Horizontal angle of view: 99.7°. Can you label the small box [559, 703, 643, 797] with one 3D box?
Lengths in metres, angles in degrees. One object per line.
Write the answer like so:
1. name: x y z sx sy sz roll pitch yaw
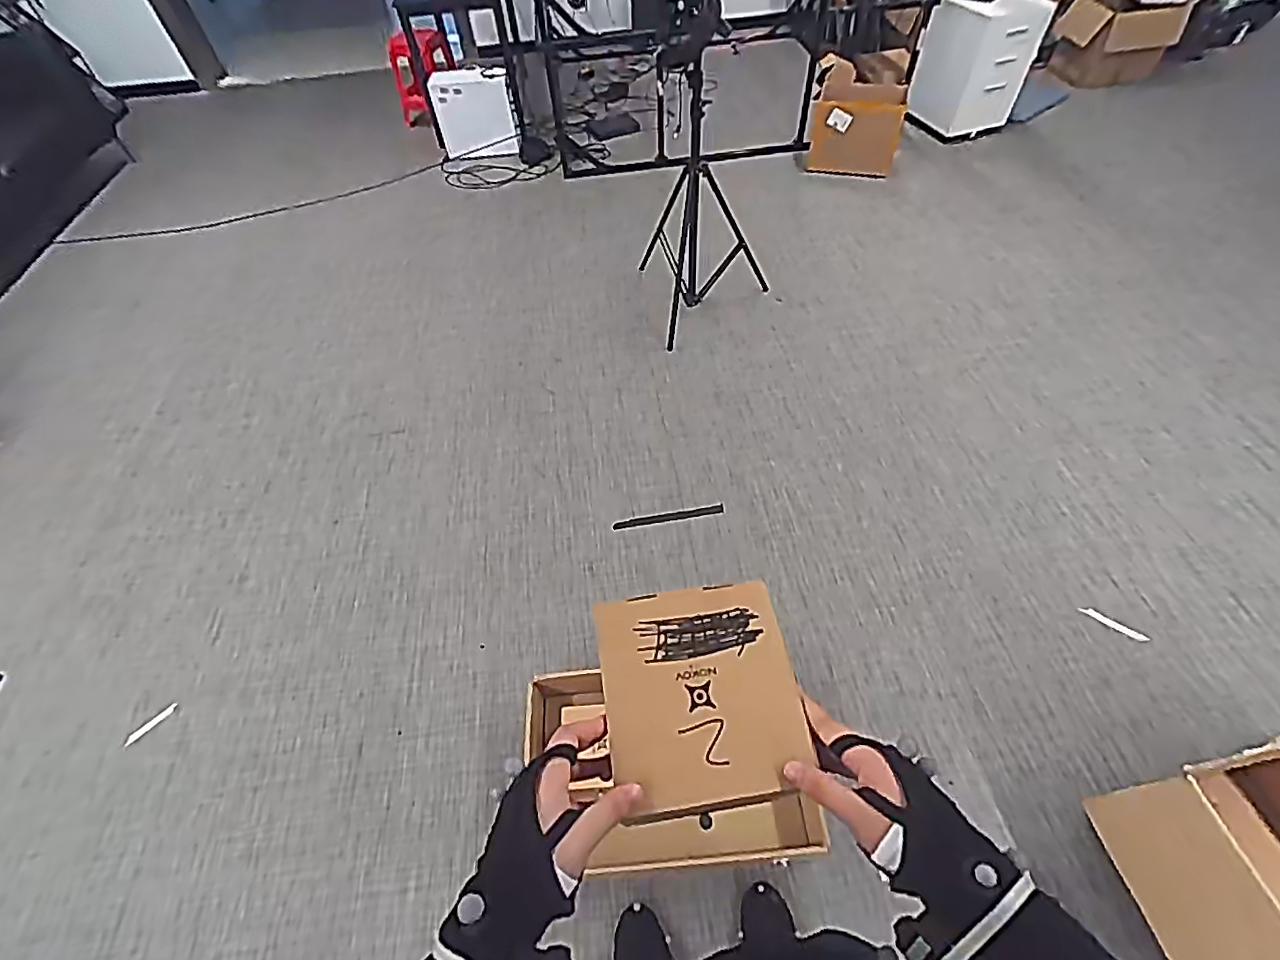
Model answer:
1. small box: -0.086 0.623 1.241 0.179 0.176 0.168 -4 55 -2
